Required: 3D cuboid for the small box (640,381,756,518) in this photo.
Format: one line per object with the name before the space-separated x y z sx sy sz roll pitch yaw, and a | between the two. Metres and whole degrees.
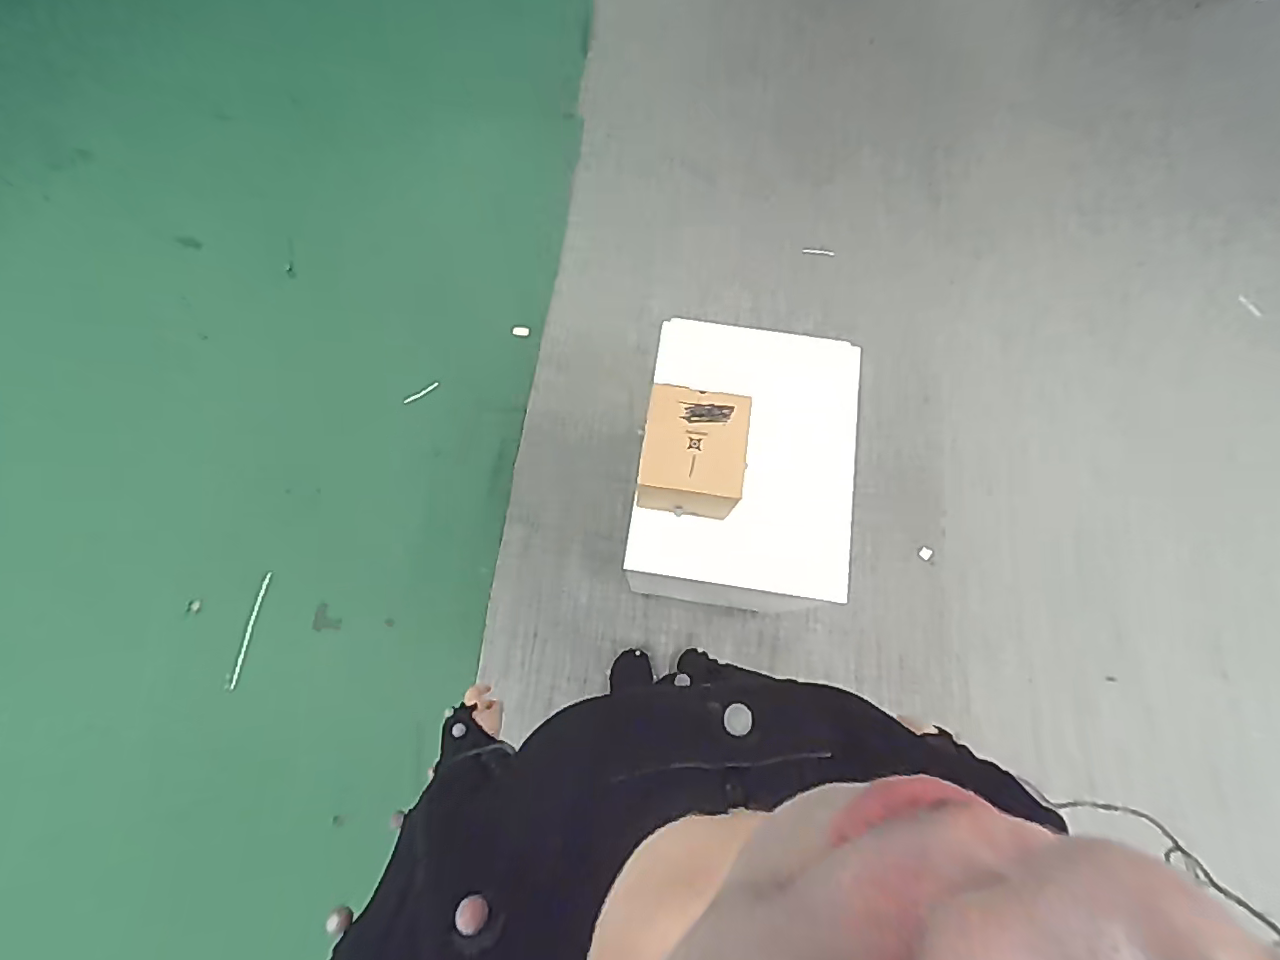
small box | 0.093 -0.045 0.927 0.168 0.176 0.179 9 75 3
